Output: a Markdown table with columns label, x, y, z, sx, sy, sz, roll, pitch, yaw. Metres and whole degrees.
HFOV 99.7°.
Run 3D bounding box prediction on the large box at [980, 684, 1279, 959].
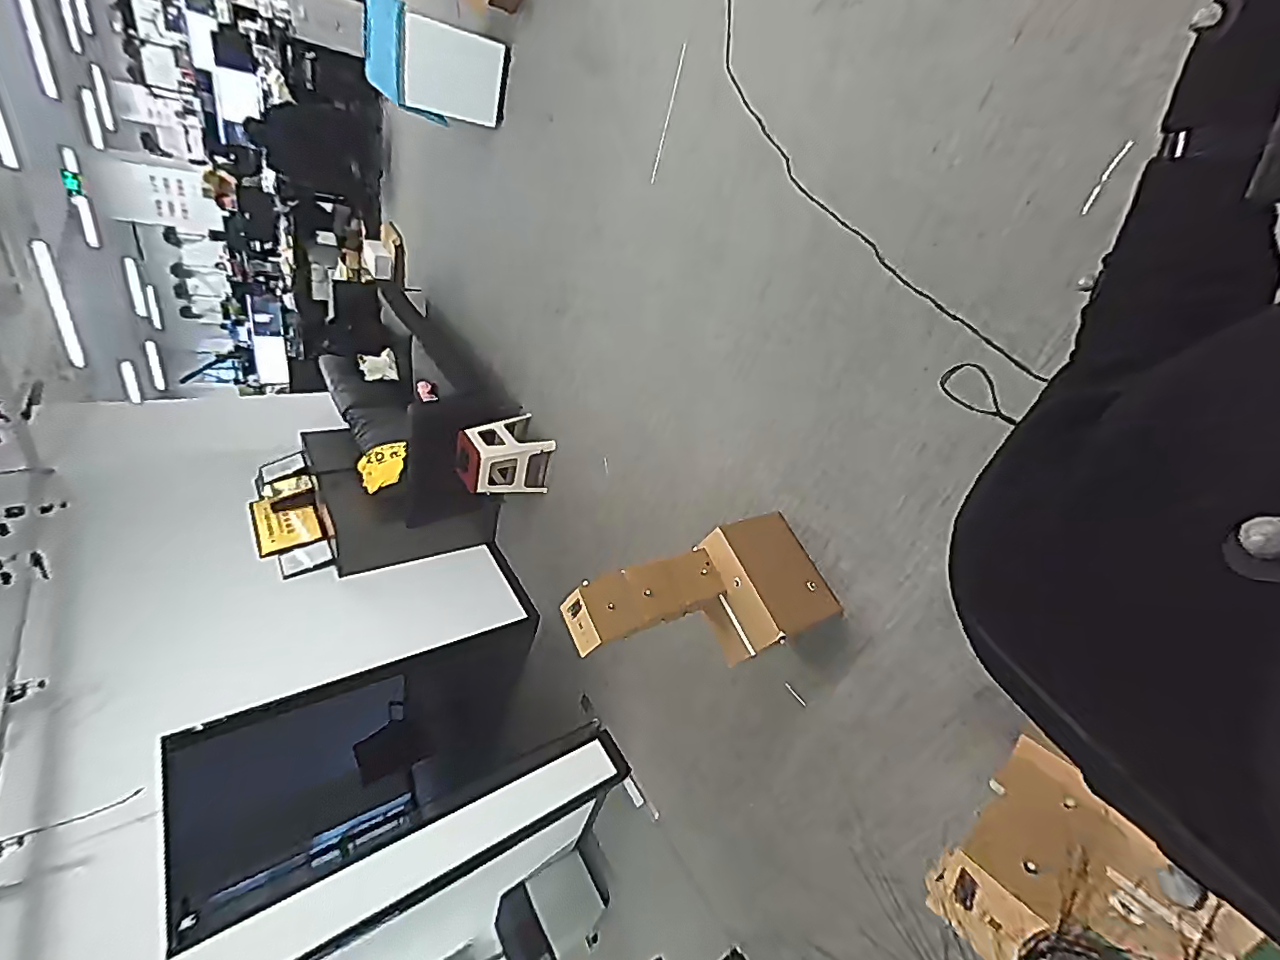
| label | x | y | z | sx | sy | sz | roll | pitch | yaw |
| --- | --- | --- | --- | --- | --- | --- | --- | --- | --- |
| large box | 1.039 | 0.723 | 1.155 | 0.408 | 0.320 | 0.320 | 32 | 124 | 44 |

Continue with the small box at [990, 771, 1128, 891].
| label | x | y | z | sx | sy | sz | roll | pitch | yaw |
| --- | --- | --- | --- | --- | --- | --- | --- | --- | --- |
| small box | 0.796 | 0.709 | 1.062 | 0.179 | 0.176 | 0.168 | 38 | 127 | 42 |

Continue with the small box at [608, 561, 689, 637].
| label | x | y | z | sx | sy | sz | roll | pitch | yaw |
| --- | --- | --- | --- | --- | --- | --- | --- | --- | --- |
| small box | 0.029 | 0.376 | 1.746 | 0.179 | 0.176 | 0.168 | 63 | 142 | 21 |

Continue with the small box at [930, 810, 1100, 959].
| label | x | y | z | sx | sy | sz | roll | pitch | yaw |
| --- | --- | --- | --- | --- | --- | --- | --- | --- | --- |
| small box | 0.666 | 0.731 | 0.964 | 0.179 | 0.176 | 0.168 | 32 | 123 | 44 |

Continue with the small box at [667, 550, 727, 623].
| label | x | y | z | sx | sy | sz | roll | pitch | yaw |
| --- | --- | --- | --- | --- | --- | --- | --- | --- | --- |
| small box | 0.163 | 0.358 | 1.835 | 0.168 | 0.176 | 0.179 | 62 | 142 | 22 |
